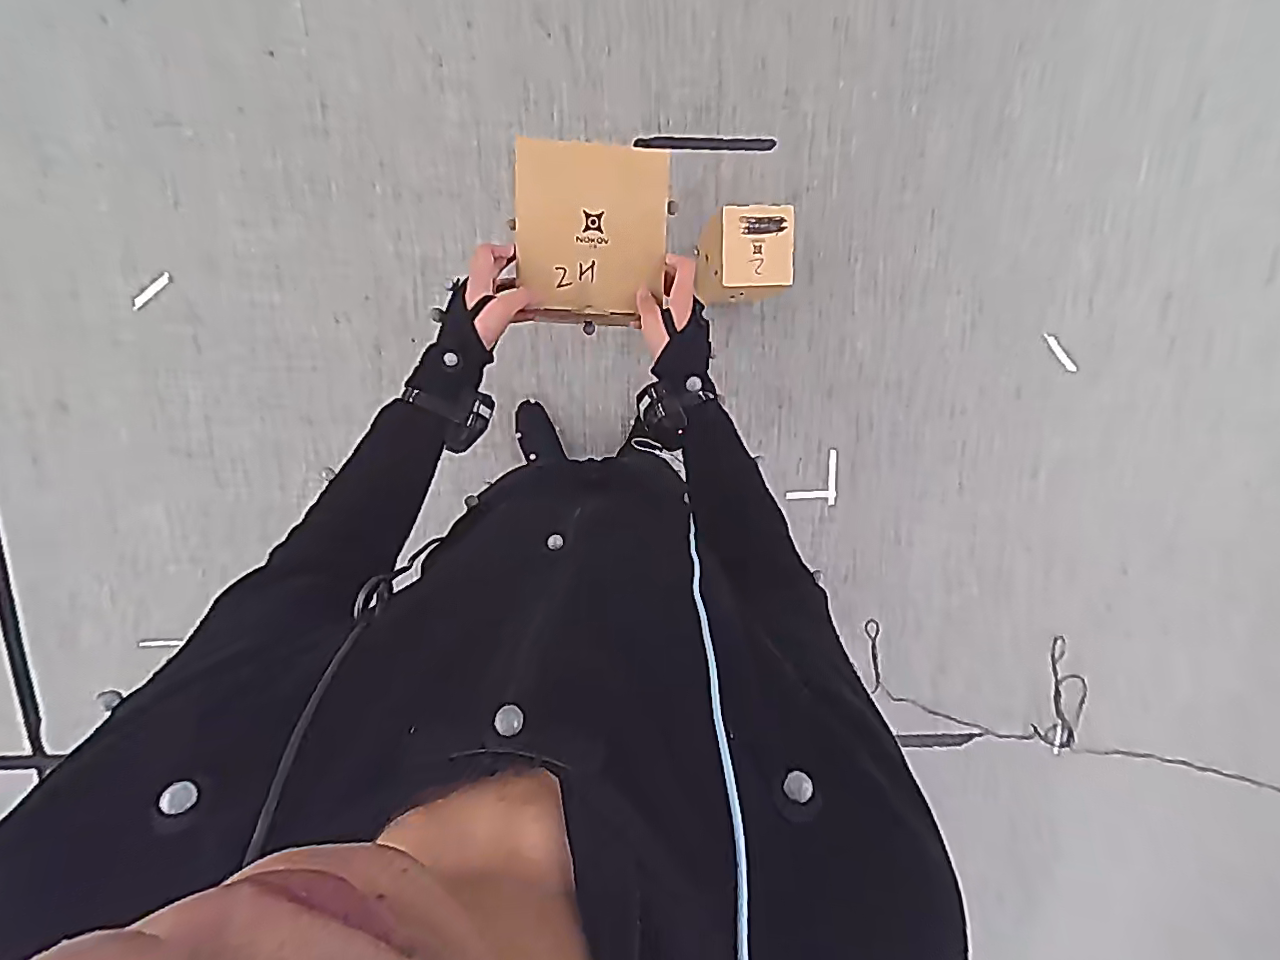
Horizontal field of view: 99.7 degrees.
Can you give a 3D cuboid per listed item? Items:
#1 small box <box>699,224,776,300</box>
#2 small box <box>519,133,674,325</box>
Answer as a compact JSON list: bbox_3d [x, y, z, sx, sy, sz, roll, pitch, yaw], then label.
[{"bbox_3d":[0.257,-0.586,1.467,0.179,0.176,0.168,-2,101,-5],"label":"small box"},{"bbox_3d":[-0.057,-0.293,0.671,0.168,0.176,0.179,2,102,-5],"label":"small box"}]
